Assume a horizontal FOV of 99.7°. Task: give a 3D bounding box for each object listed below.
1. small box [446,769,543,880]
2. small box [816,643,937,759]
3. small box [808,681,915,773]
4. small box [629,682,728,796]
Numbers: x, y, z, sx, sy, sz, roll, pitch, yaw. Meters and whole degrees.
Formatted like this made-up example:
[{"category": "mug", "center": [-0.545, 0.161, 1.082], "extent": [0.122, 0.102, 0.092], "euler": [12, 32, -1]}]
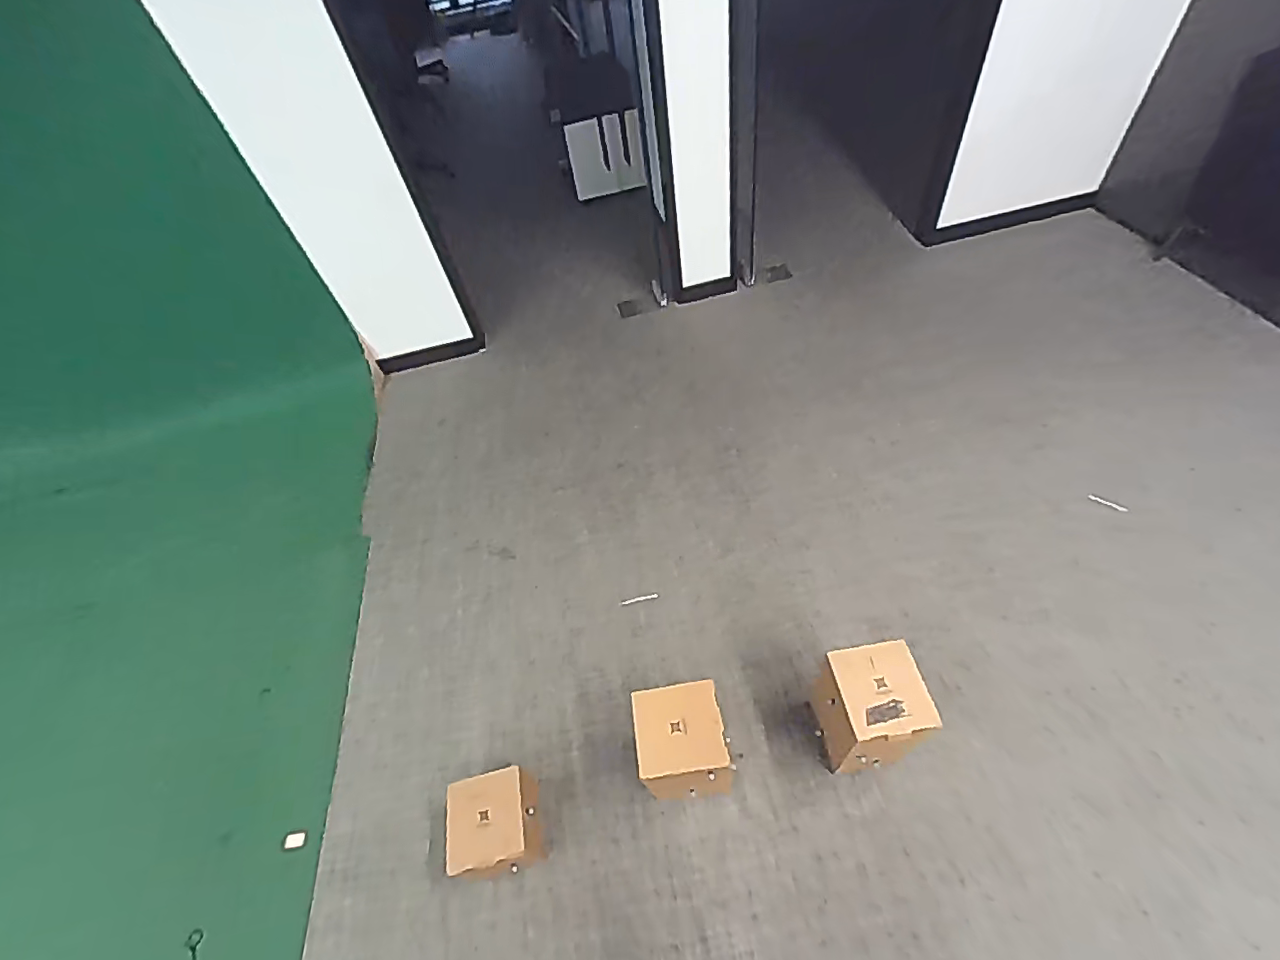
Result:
[{"category": "small box", "center": [-0.325, 0.784, 1.224], "extent": [0.168, 0.176, 0.179], "euler": [-14, 49, -3]}, {"category": "small box", "center": [0.480, 0.466, 1.125], "extent": [0.168, 0.176, 0.179], "euler": [-10, 49, 1]}, {"category": "small box", "center": [0.503, 0.566, 1.255], "extent": [0.168, 0.176, 0.179], "euler": [-11, 51, 0]}, {"category": "small box", "center": [0.083, 0.546, 1.132], "extent": [0.179, 0.176, 0.168], "euler": [-10, 50, 2]}]
